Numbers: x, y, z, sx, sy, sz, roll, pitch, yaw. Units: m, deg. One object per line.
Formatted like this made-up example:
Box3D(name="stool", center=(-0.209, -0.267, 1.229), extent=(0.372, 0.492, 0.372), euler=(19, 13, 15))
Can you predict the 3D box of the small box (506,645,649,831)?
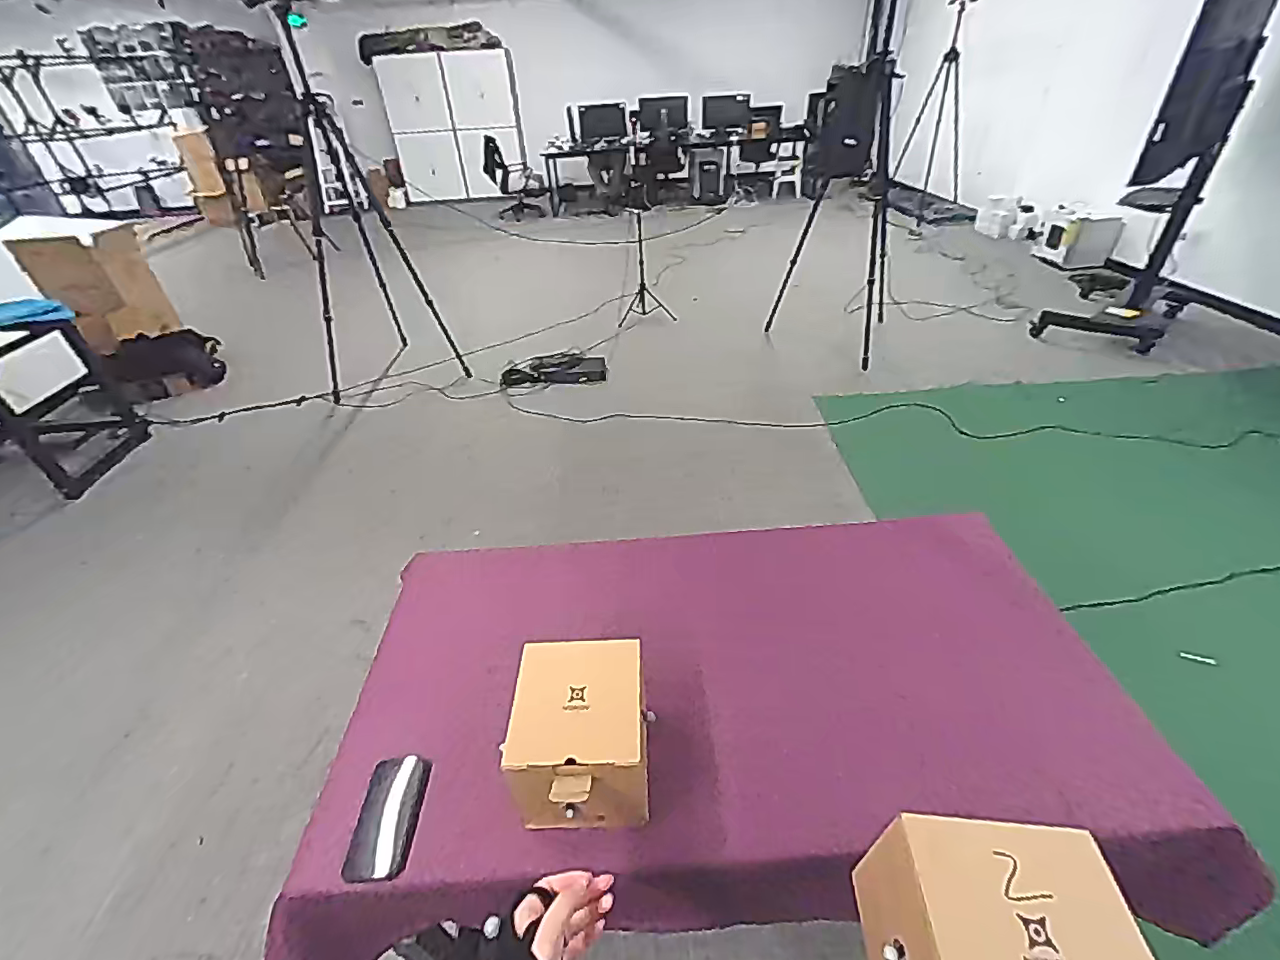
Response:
Box3D(name="small box", center=(-0.073, 0.349, 0.739), extent=(0.168, 0.176, 0.179), euler=(-2, 37, 2))
